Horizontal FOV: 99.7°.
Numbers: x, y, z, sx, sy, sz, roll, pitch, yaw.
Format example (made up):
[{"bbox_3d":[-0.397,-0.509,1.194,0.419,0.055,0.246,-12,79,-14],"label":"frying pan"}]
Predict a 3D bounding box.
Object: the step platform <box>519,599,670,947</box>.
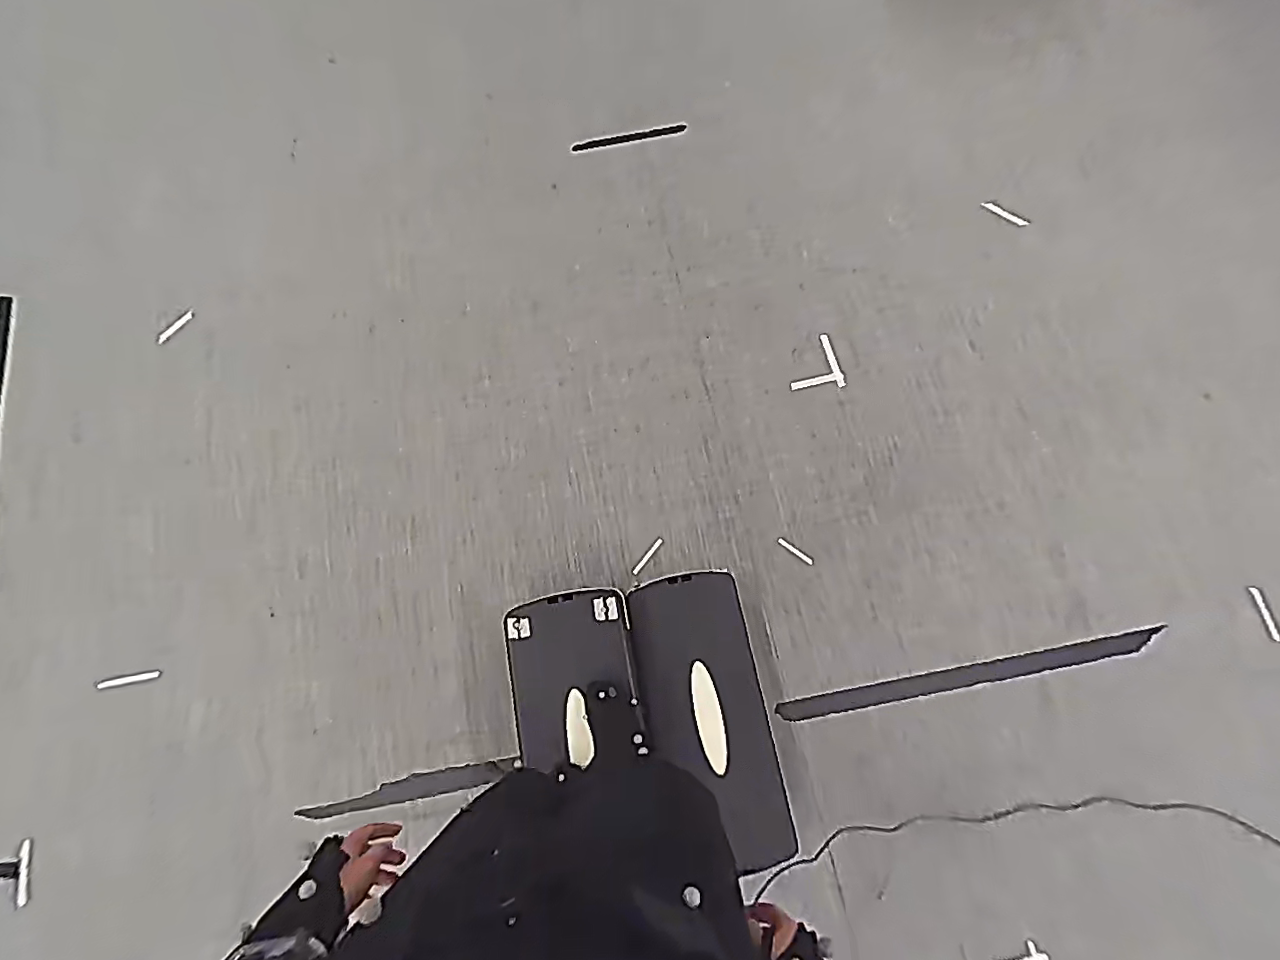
[{"bbox_3d":[-0.111,0.623,1.235,0.286,0.204,0.684,-7,72,-2],"label":"step platform"}]
